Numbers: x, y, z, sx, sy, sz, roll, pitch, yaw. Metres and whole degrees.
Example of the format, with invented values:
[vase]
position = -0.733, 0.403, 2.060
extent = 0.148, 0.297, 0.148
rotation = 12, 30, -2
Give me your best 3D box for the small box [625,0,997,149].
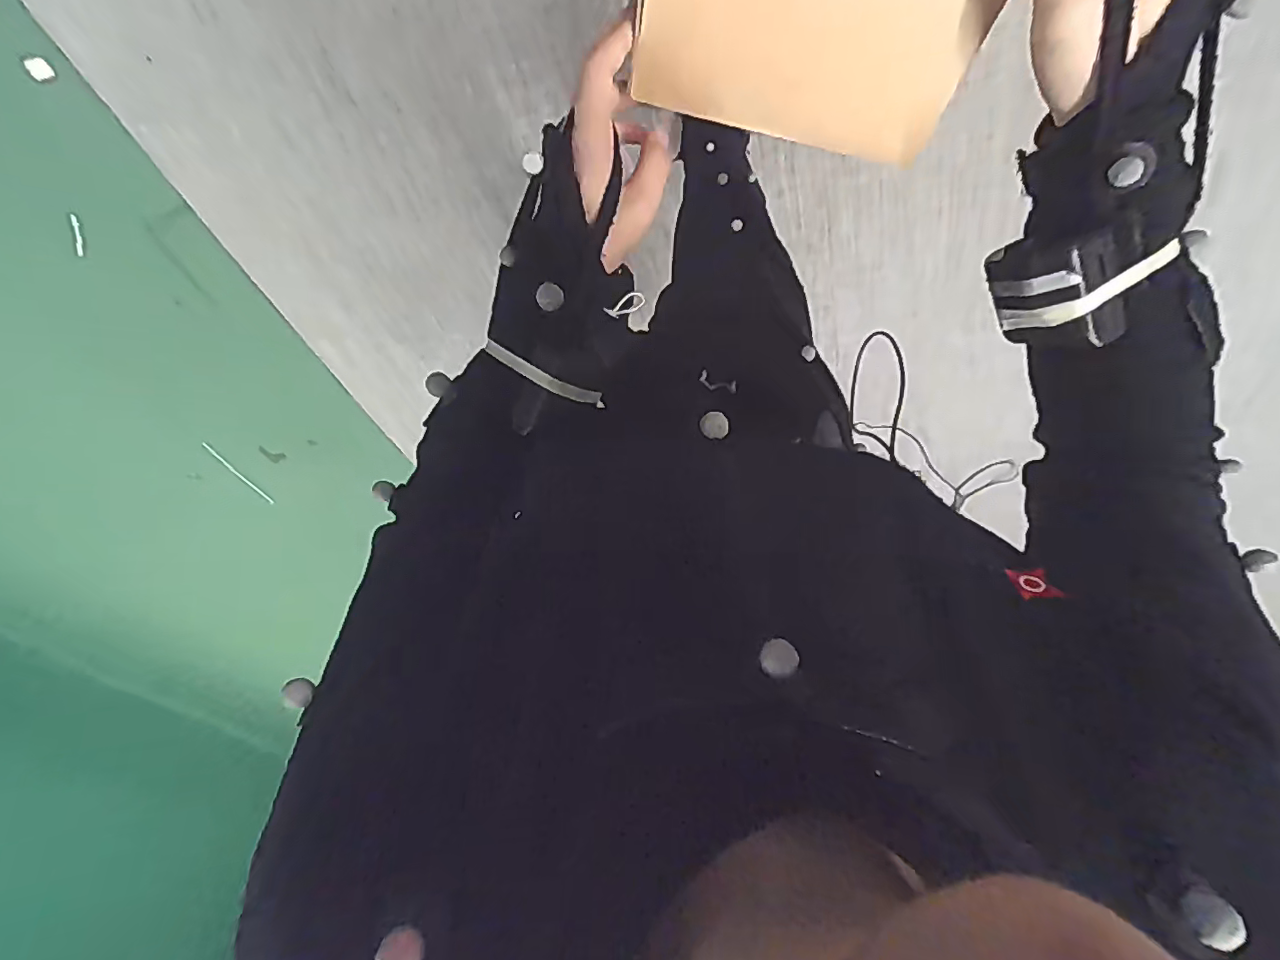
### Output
[small box]
position = 0.099, -0.319, 0.289
extent = 0.179, 0.176, 0.168
rotation = 12, 146, -4
